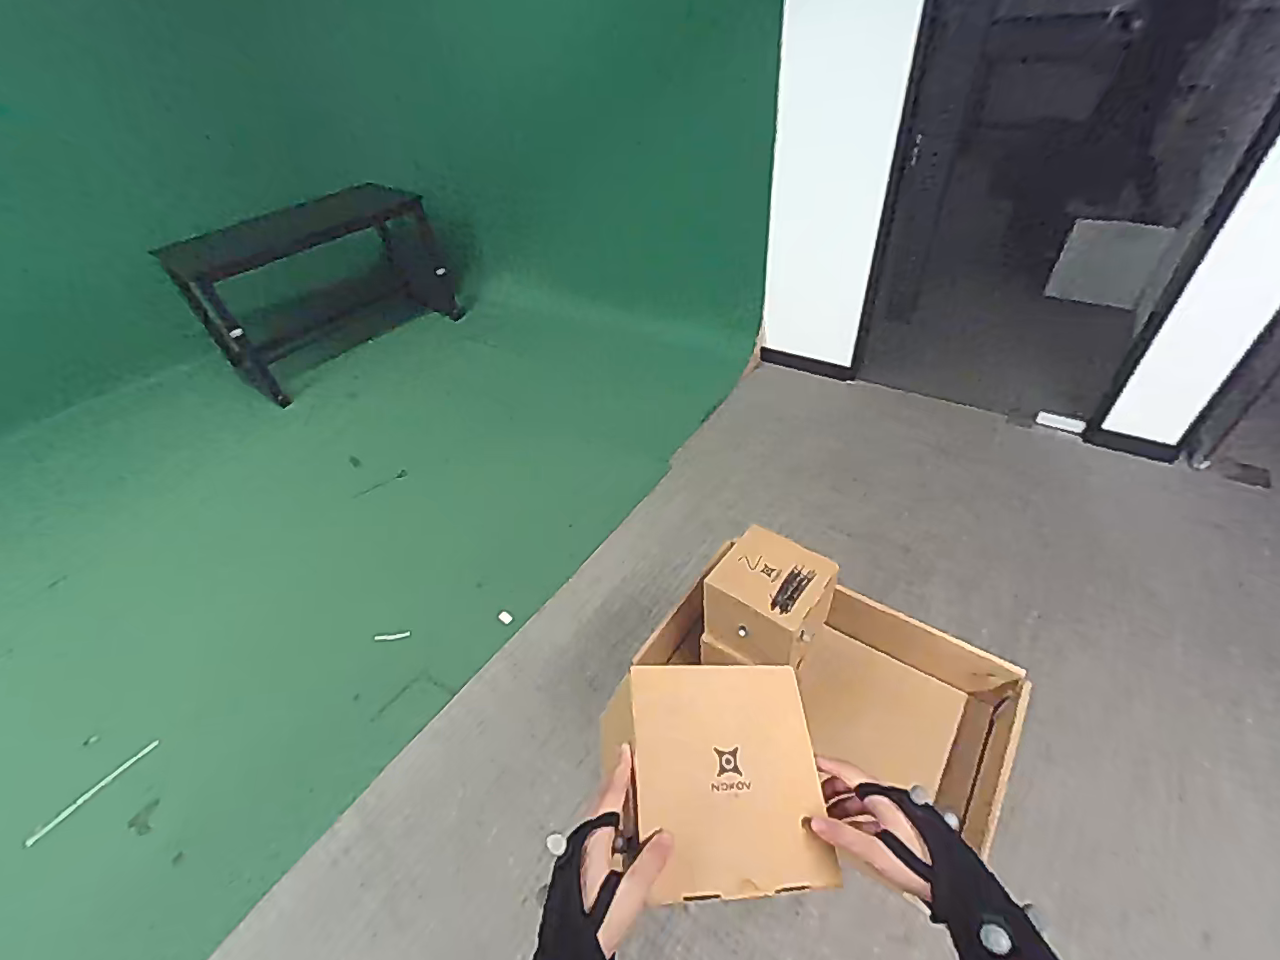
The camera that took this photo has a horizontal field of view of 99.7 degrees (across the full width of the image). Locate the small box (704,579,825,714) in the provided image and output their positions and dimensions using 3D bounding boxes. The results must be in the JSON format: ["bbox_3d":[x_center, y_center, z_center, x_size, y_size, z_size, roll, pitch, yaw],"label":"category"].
[{"bbox_3d":[0.247,0.341,1.092,0.179,0.176,0.168,25,52,30],"label":"small box"}]
